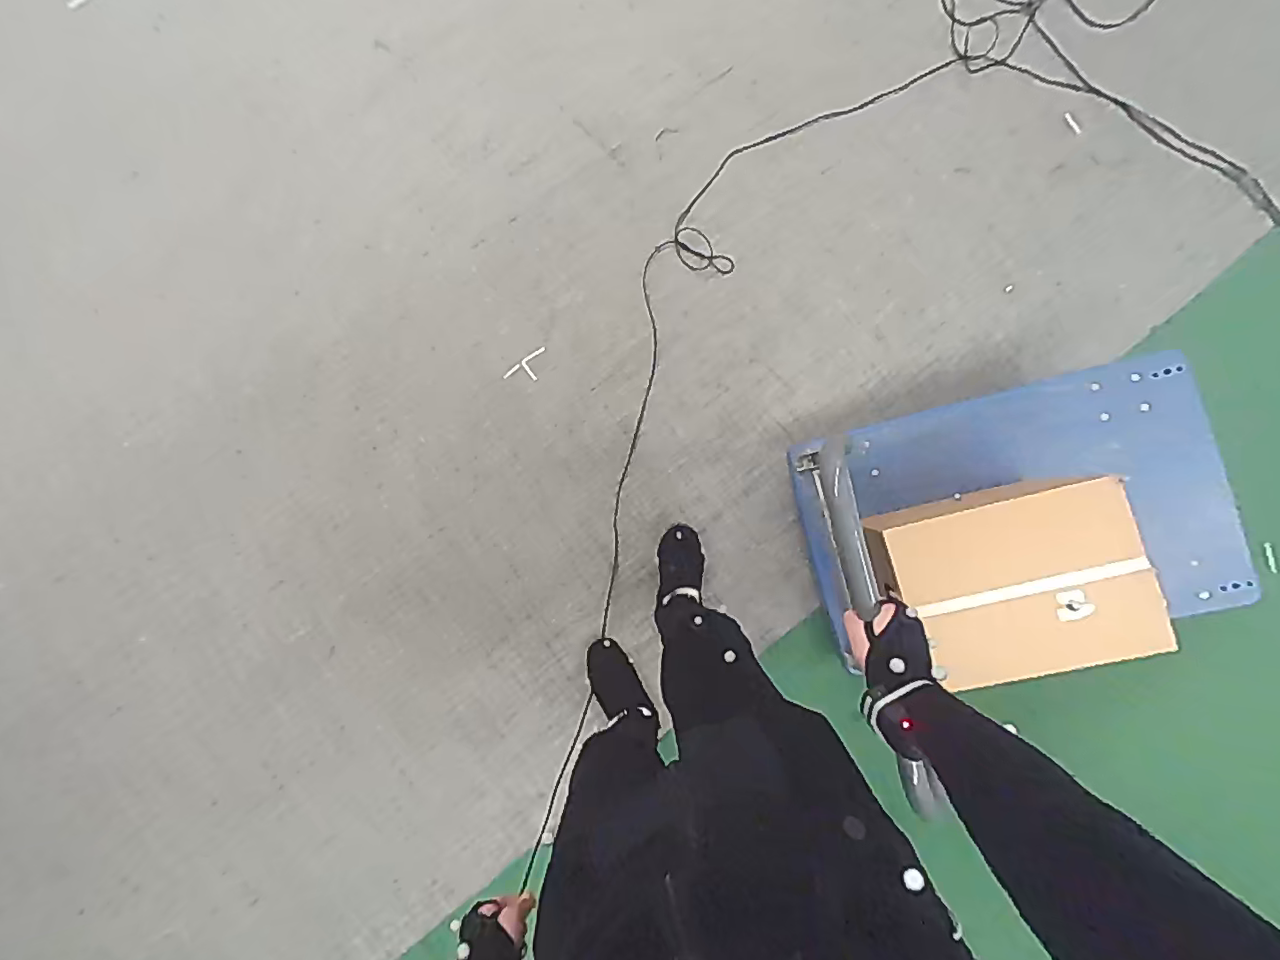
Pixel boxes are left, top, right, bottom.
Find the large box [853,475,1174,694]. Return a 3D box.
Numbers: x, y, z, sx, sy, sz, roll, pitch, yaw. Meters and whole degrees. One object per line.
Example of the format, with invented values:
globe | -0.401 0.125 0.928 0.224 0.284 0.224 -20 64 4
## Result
large box | 0.708 0.197 1.108 0.408 0.320 0.320 -15 86 9
